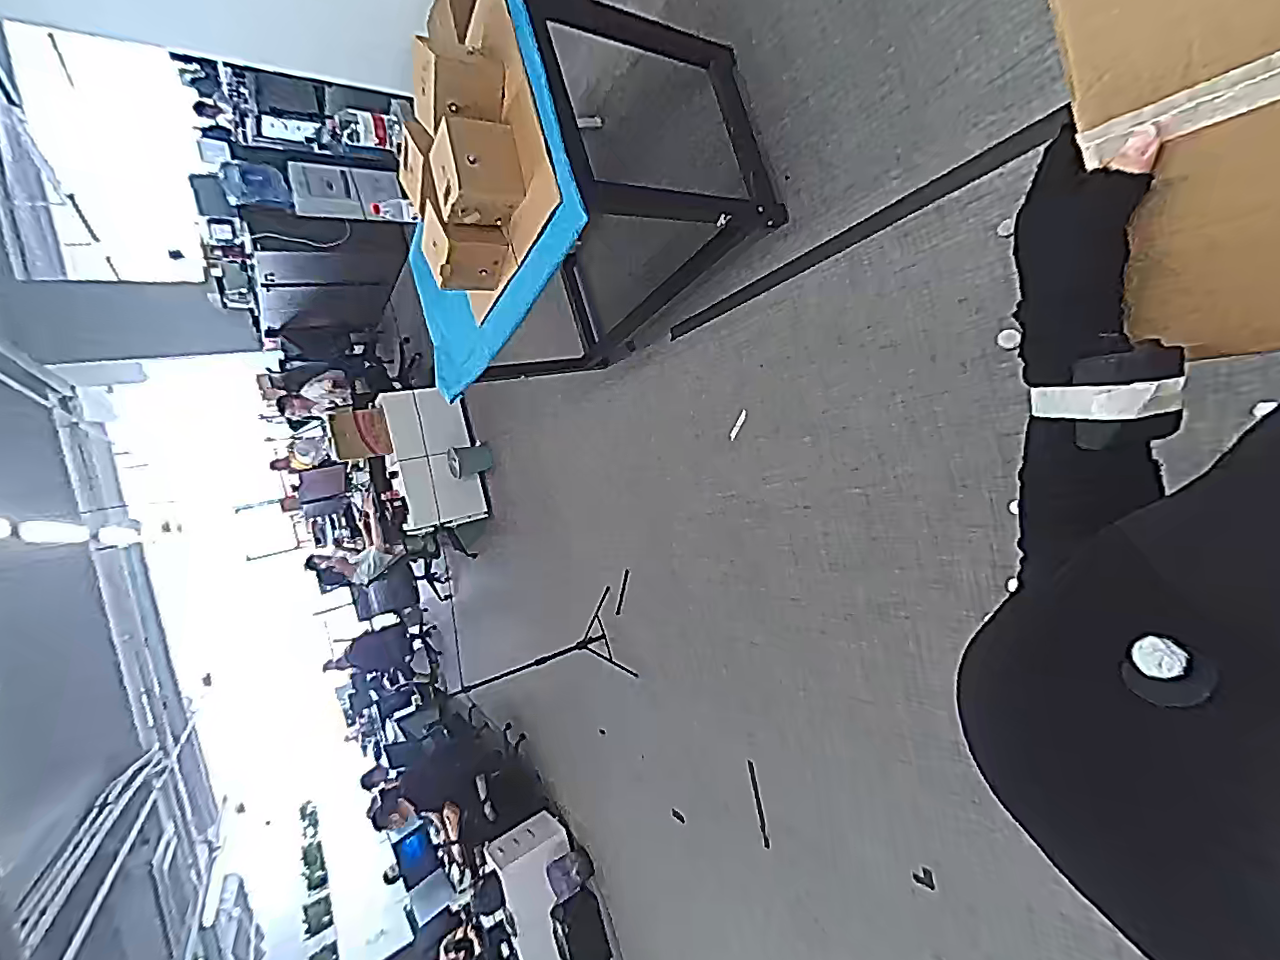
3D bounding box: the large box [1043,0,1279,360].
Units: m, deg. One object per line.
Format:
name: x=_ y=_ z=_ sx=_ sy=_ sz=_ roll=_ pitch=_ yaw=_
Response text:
large box: x=0.477 y=-0.300 z=0.232 sx=0.408 sy=0.320 sz=0.320 roll=0 pitch=132 yaw=55
